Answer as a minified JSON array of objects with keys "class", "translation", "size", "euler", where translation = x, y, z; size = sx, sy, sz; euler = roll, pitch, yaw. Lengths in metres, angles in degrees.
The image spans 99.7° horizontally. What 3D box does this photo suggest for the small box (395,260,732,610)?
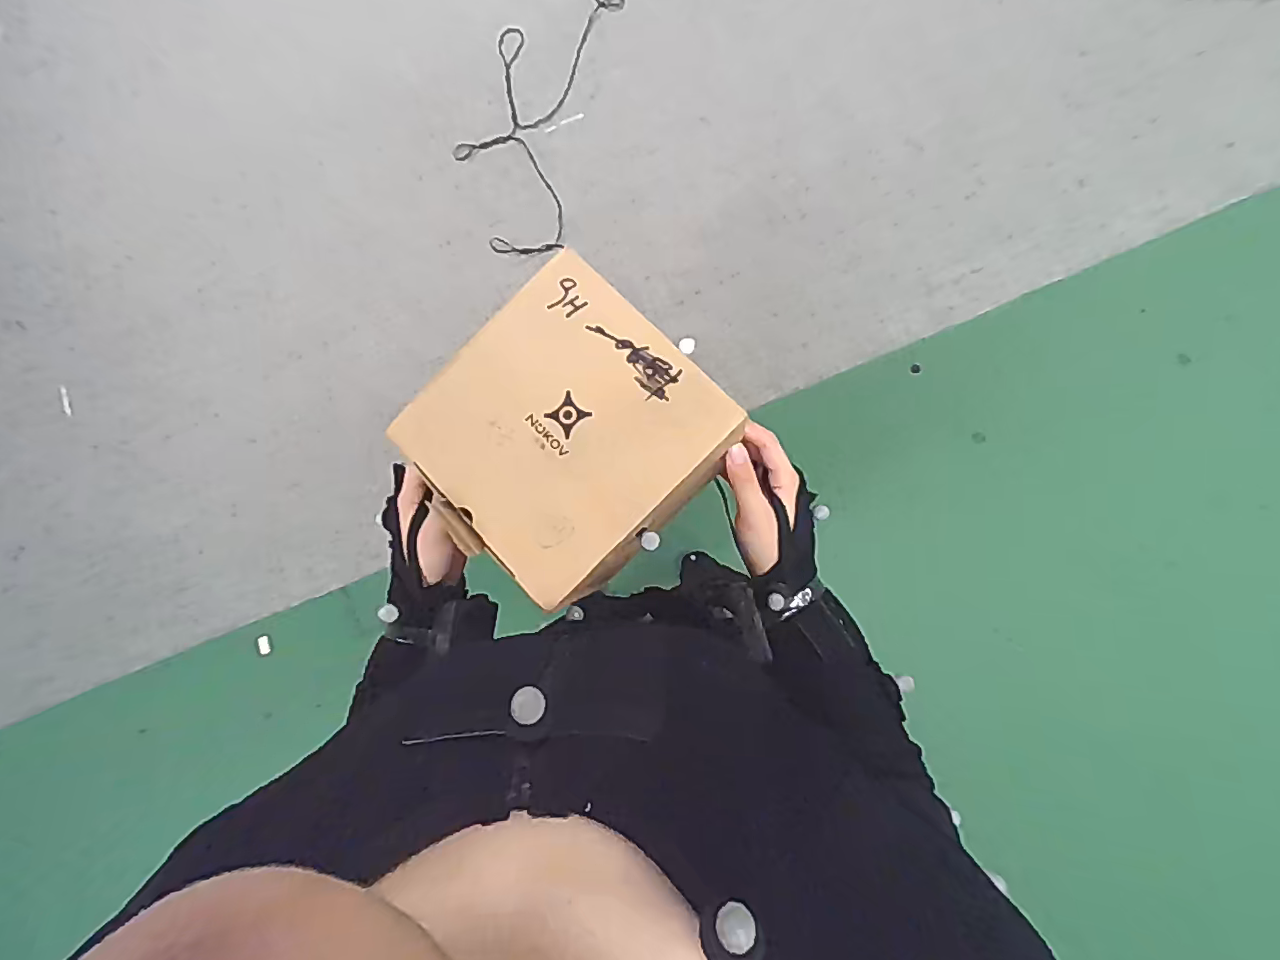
[{"class":"small box","translation":[-0.042,-0.025,0.431],"size":[0.168,0.176,0.179],"euler":[45,93,9]}]
